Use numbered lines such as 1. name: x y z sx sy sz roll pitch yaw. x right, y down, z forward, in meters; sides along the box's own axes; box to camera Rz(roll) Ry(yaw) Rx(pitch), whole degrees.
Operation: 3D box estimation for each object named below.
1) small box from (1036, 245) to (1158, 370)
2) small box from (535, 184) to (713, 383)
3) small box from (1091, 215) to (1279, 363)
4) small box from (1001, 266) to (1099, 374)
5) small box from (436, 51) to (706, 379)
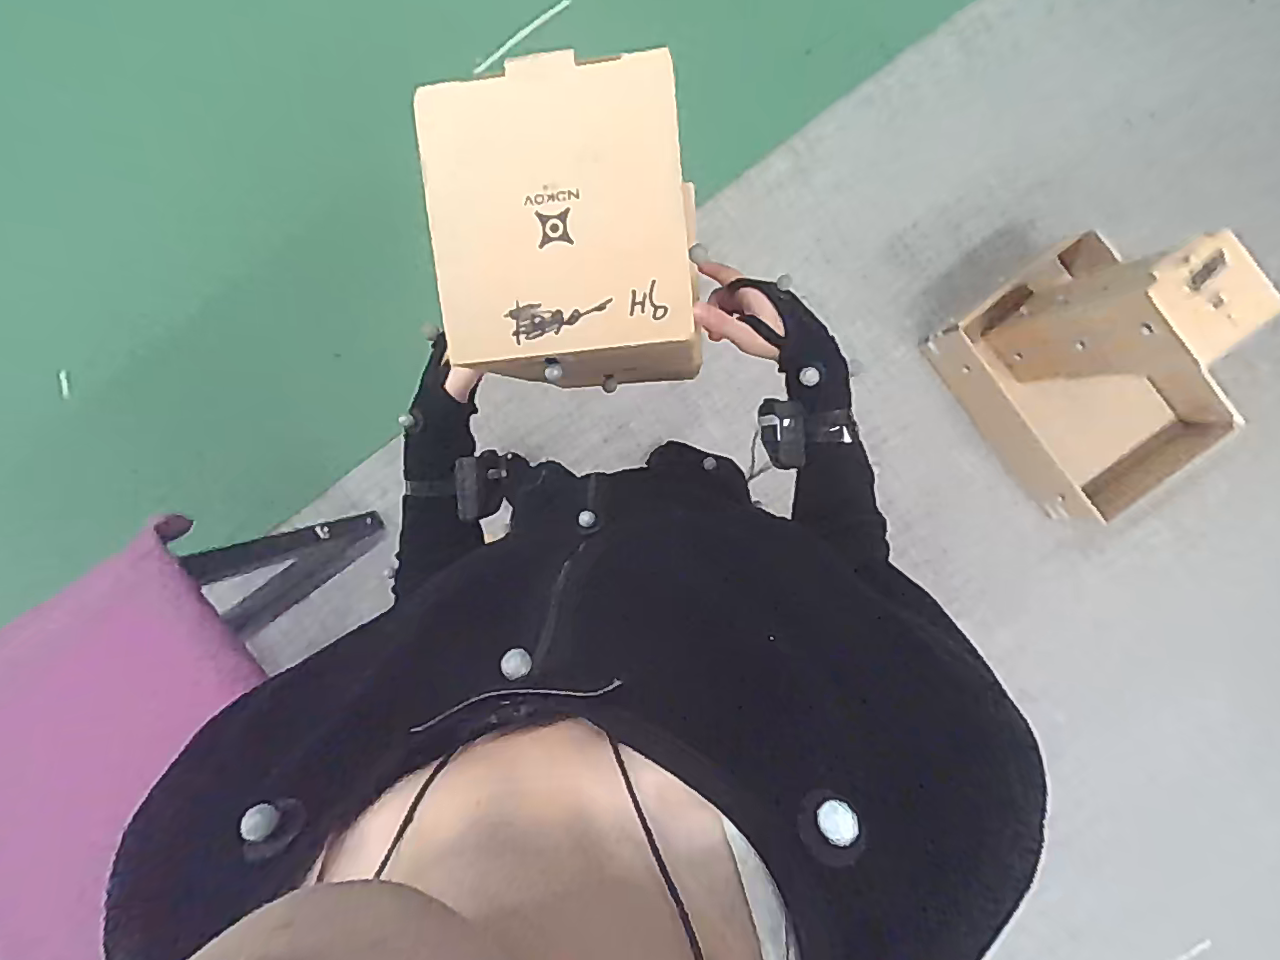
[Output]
1. small box: 1.001 -0.352 1.145 0.168 0.176 0.179 -40 92 7
2. small box: -0.014 -0.196 0.589 0.179 0.176 0.168 -3 96 7
3. small box: 0.990 -0.332 0.983 0.168 0.176 0.179 -40 92 7
4. small box: 1.019 -0.374 1.306 0.179 0.176 0.168 -41 92 5
5. small box: -0.037 -0.181 0.427 0.168 0.176 0.179 -4 96 7
